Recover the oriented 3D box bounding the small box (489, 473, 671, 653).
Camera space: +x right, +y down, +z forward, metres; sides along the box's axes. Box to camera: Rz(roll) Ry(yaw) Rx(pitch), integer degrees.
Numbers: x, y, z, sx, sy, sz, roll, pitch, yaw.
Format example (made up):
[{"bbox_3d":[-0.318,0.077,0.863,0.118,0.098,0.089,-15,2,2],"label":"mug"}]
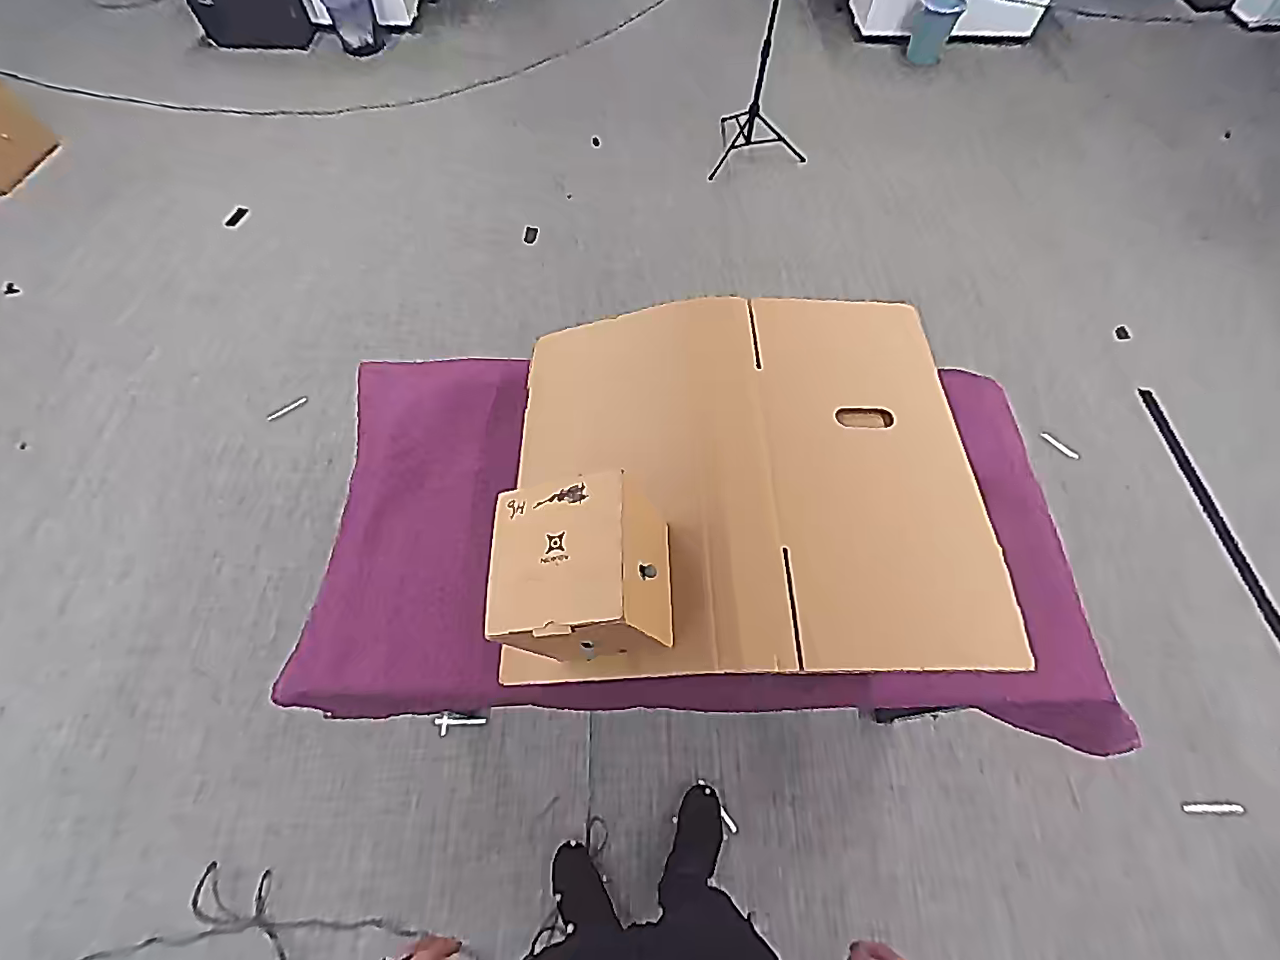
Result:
[{"bbox_3d":[-0.063,0.114,0.670,0.168,0.176,0.179,-11,62,17],"label":"small box"}]
